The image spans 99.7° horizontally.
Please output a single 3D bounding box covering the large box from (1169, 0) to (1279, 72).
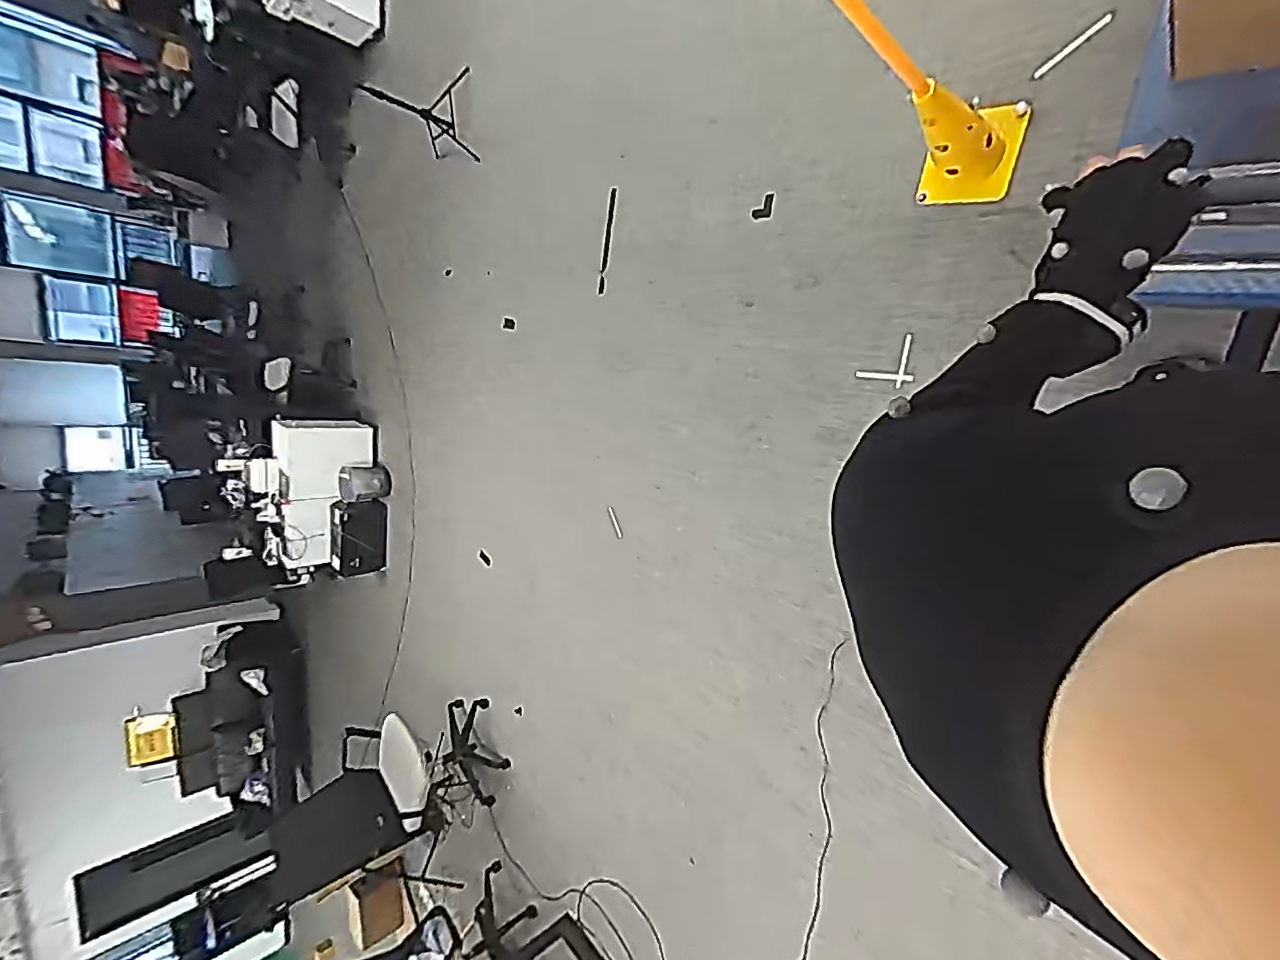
[{"bbox_3d":[0.963,-0.763,0.646,0.408,0.320,0.320,23,111,42],"label":"large box"}]
